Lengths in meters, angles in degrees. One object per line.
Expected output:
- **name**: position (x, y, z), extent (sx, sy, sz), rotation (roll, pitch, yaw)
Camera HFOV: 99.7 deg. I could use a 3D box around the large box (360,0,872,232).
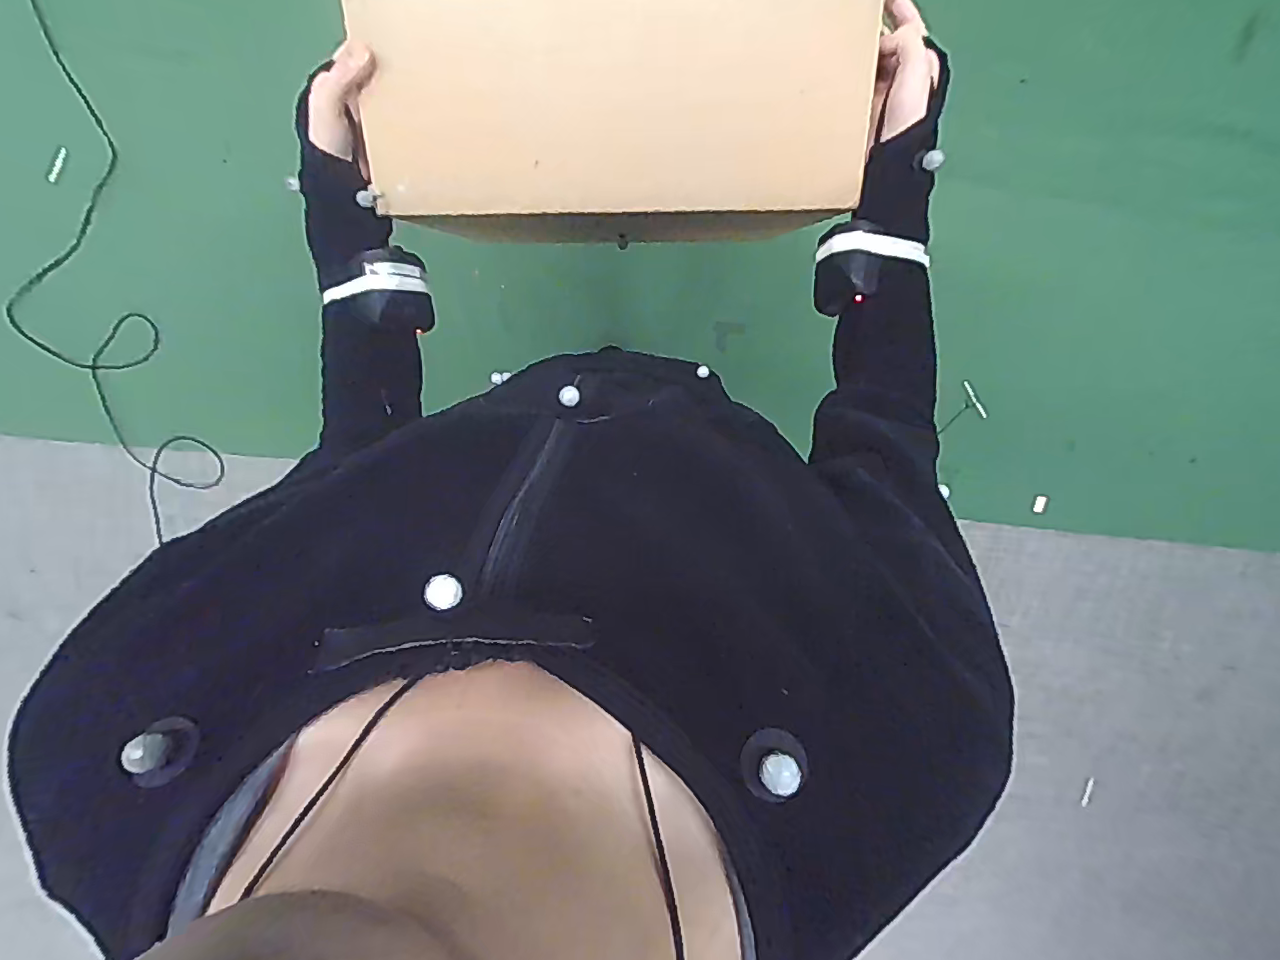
- **large box**: position (-0.017, -0.434, 0.551), extent (0.408, 0.320, 0.320), rotation (-1, 110, 0)
